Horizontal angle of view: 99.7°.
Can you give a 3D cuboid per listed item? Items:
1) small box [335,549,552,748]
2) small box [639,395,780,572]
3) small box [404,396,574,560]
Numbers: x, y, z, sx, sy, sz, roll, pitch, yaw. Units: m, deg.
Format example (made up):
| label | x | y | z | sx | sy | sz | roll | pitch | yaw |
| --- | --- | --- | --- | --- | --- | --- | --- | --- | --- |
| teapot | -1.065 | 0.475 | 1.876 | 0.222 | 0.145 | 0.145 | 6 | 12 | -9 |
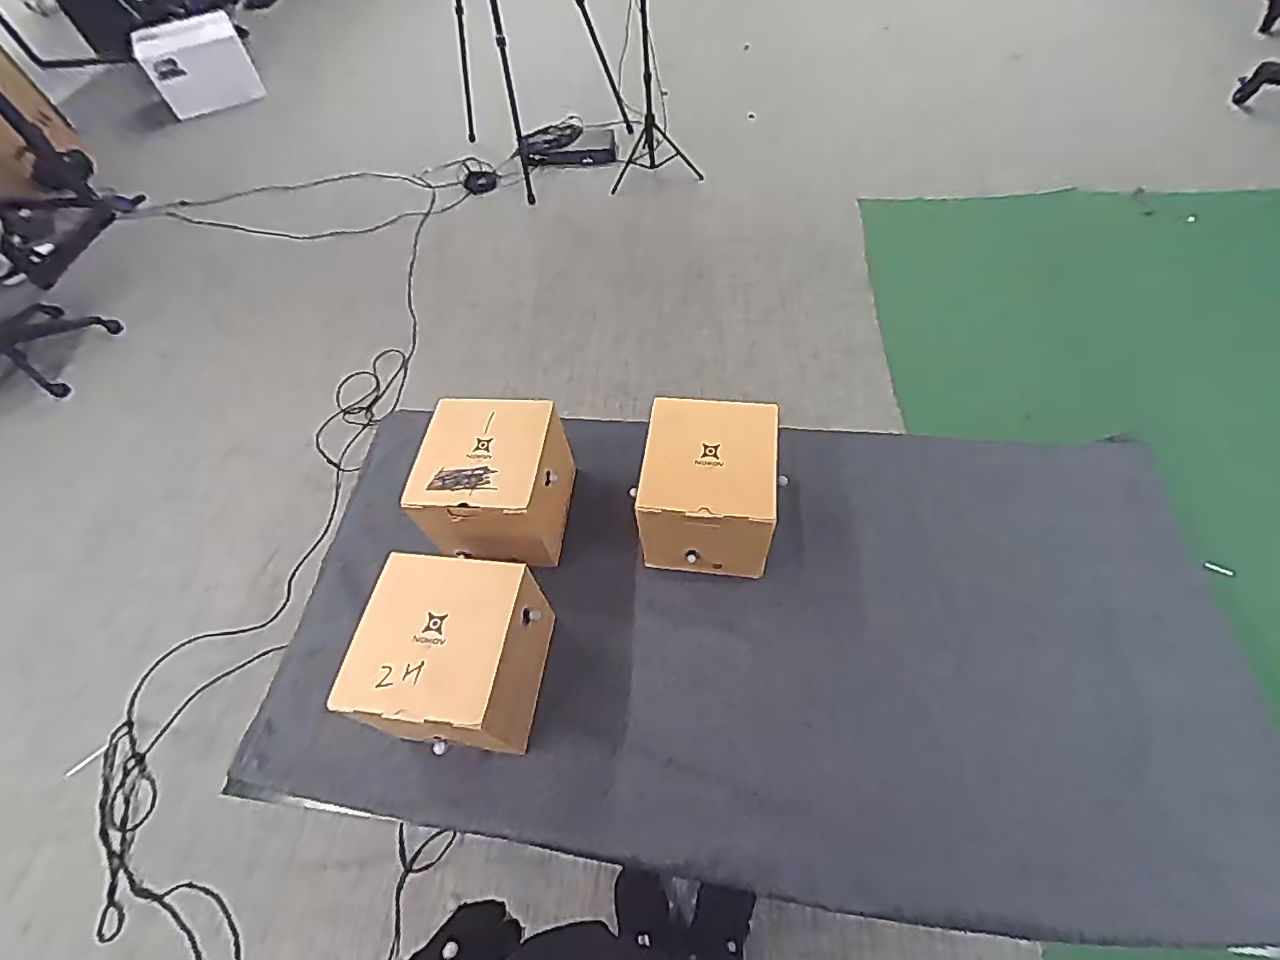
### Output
| label | x | y | z | sx | sy | sz | roll | pitch | yaw |
| --- | --- | --- | --- | --- | --- | --- | --- | --- | --- |
| small box | -0.210 | 0.202 | 0.641 | 0.168 | 0.176 | 0.179 | 4 | 57 | 8 |
| small box | 0.095 | 0.007 | 0.740 | 0.168 | 0.176 | 0.179 | 4 | 59 | 8 |
| small box | -0.197 | 0.002 | 0.767 | 0.168 | 0.176 | 0.179 | 2 | 58 | 7 |
